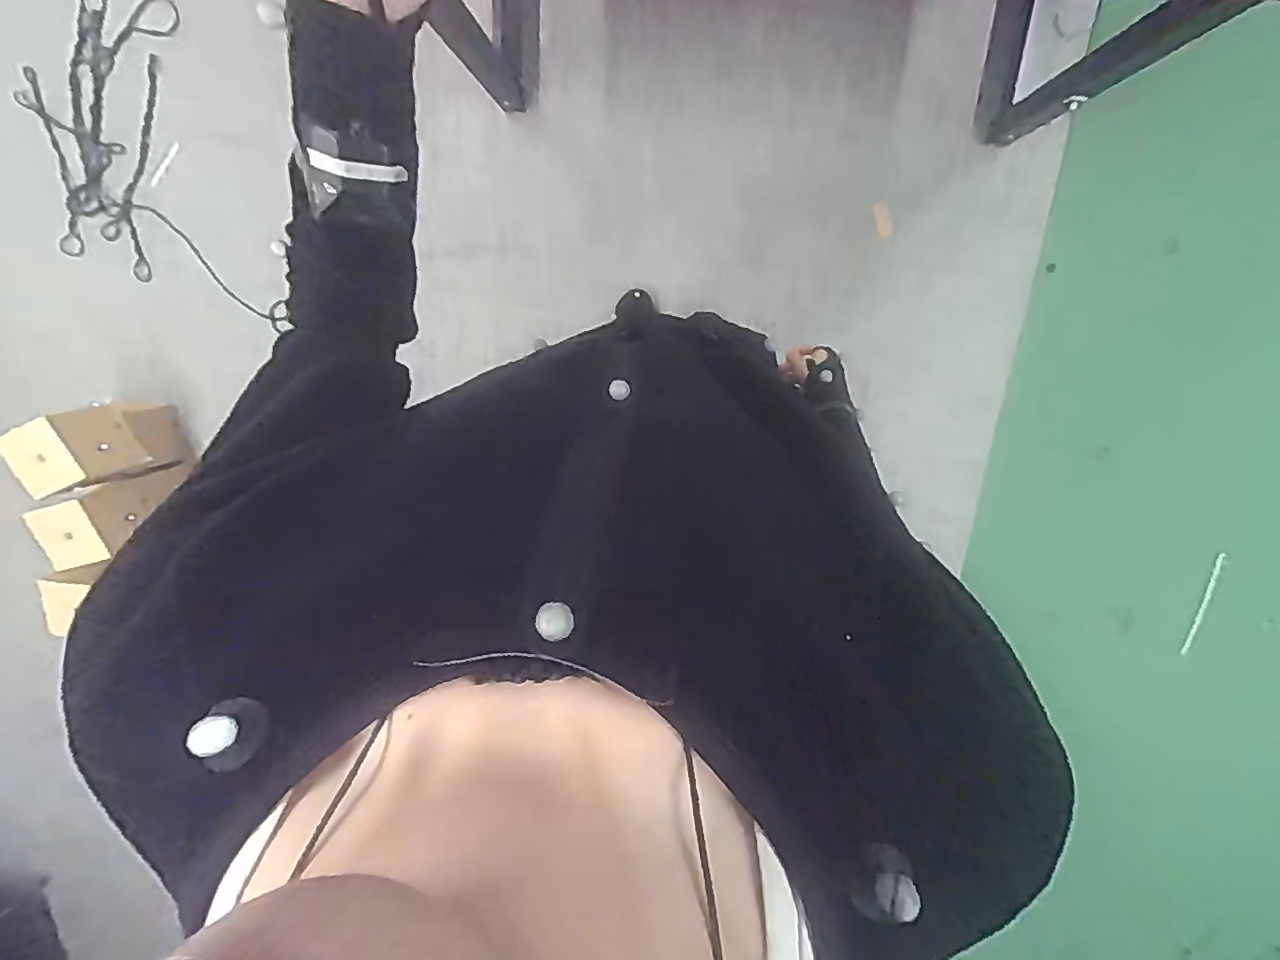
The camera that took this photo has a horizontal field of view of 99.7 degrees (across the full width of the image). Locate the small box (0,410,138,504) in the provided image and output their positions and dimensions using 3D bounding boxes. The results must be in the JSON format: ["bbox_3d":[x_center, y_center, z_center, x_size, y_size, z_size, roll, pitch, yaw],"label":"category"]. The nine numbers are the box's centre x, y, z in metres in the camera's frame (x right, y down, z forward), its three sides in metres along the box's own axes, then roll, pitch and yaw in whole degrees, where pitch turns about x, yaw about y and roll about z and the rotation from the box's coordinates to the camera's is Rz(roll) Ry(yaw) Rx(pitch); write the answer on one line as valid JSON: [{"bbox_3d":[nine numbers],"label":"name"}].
[{"bbox_3d":[-1.435,-0.064,1.365,0.179,0.176,0.168,-20,103,11],"label":"small box"}]

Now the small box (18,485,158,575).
[{"bbox_3d":[-1.431,0.125,1.422,0.179,0.176,0.168,-13,105,9],"label":"small box"}]
